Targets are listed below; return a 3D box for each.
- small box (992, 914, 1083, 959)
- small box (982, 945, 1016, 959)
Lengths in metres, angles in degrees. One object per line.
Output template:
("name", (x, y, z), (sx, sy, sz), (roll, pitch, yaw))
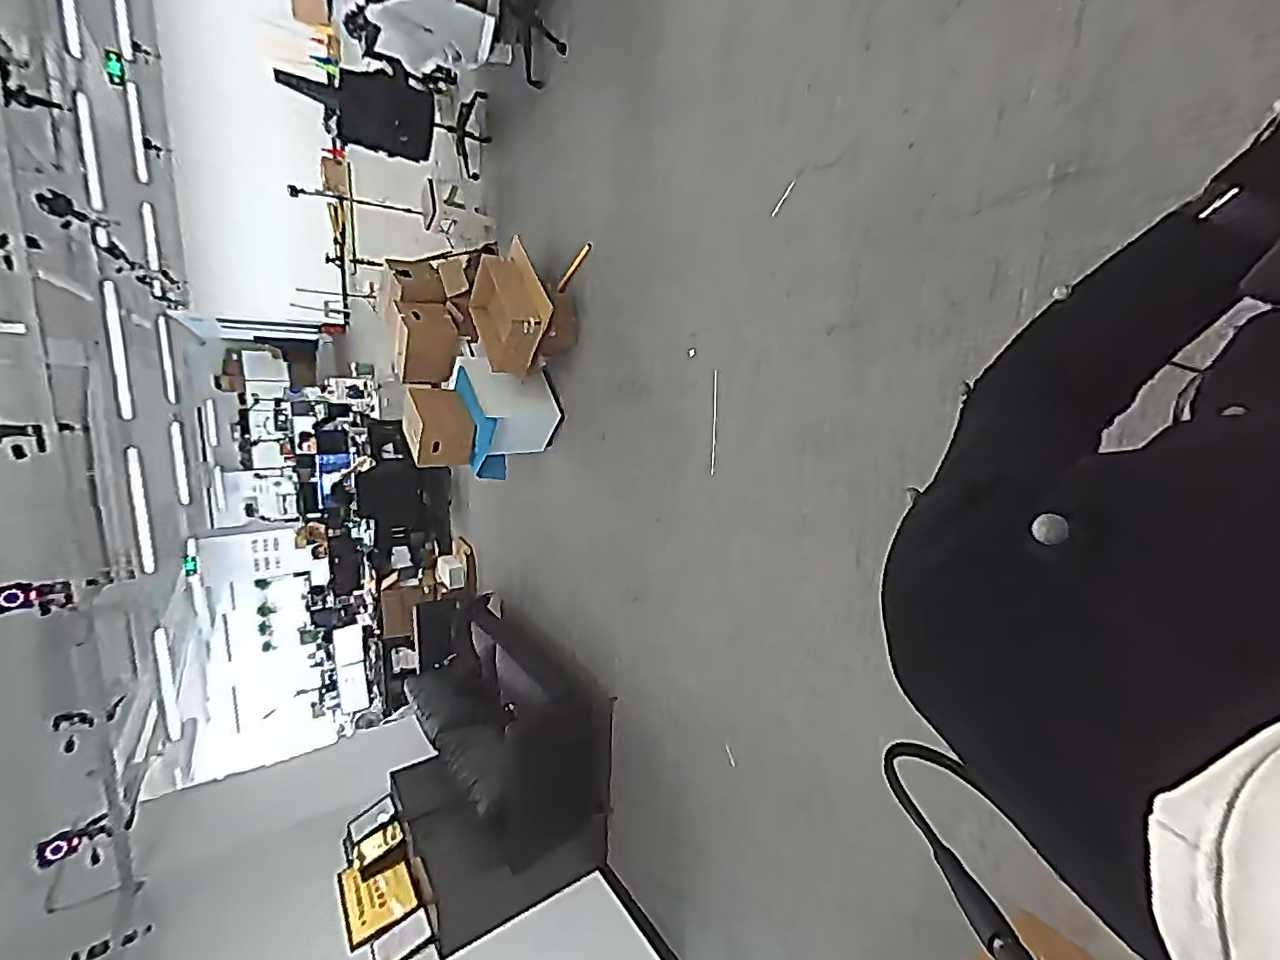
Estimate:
("small box", (1.064, 1.331, 1.449), (0.179, 0.176, 0.168), (18, 108, 54))
("small box", (0.927, 1.339, 1.356), (0.168, 0.176, 0.179), (19, 111, 53))
